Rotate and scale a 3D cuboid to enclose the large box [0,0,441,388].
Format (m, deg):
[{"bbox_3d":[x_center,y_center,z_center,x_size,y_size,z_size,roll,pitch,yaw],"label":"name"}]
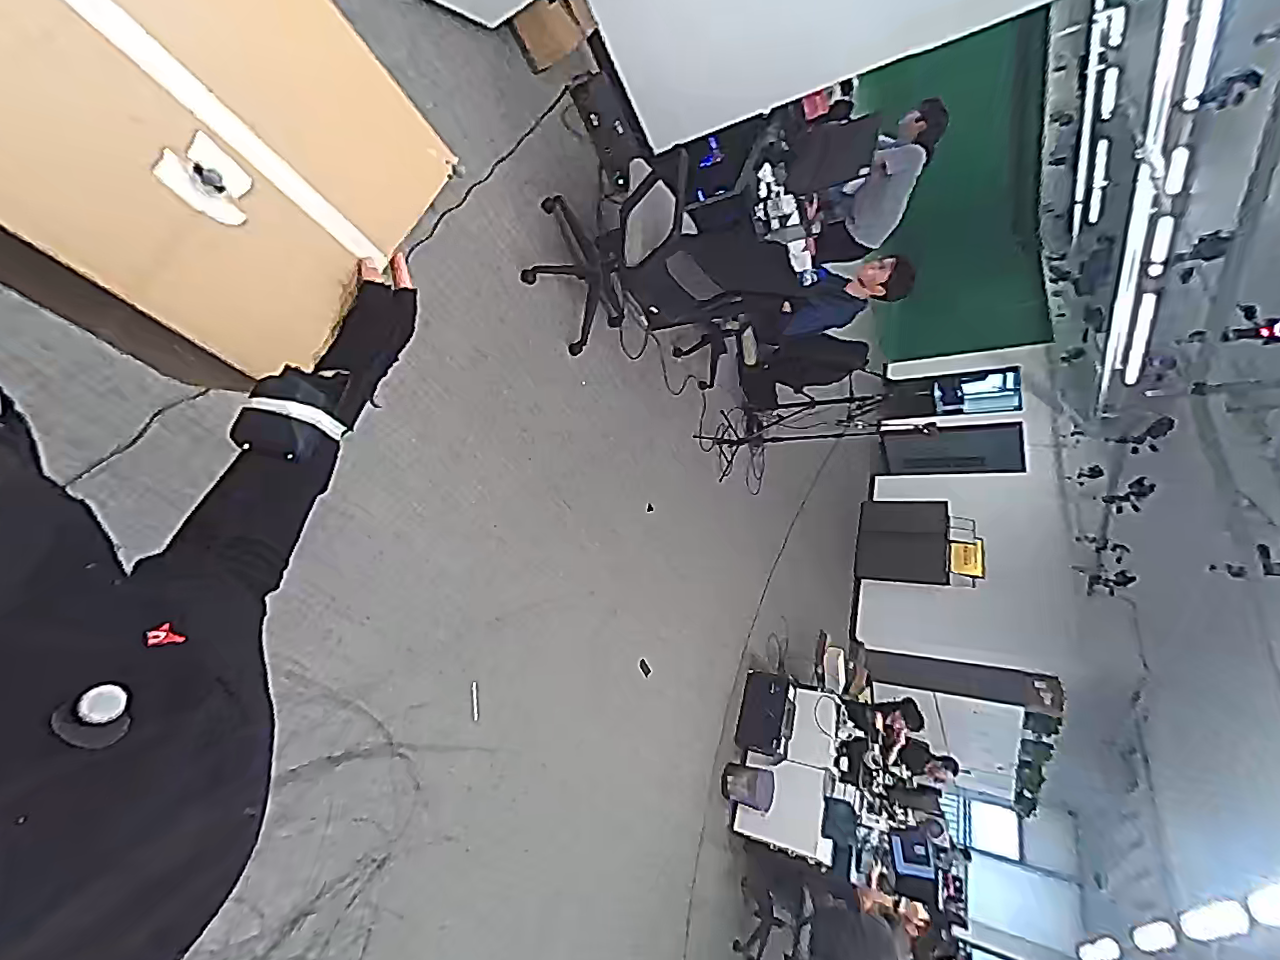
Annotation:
[{"bbox_3d":[-0.482,-0.326,0.478,0.408,0.320,0.320,46,62,-50],"label":"large box"}]
